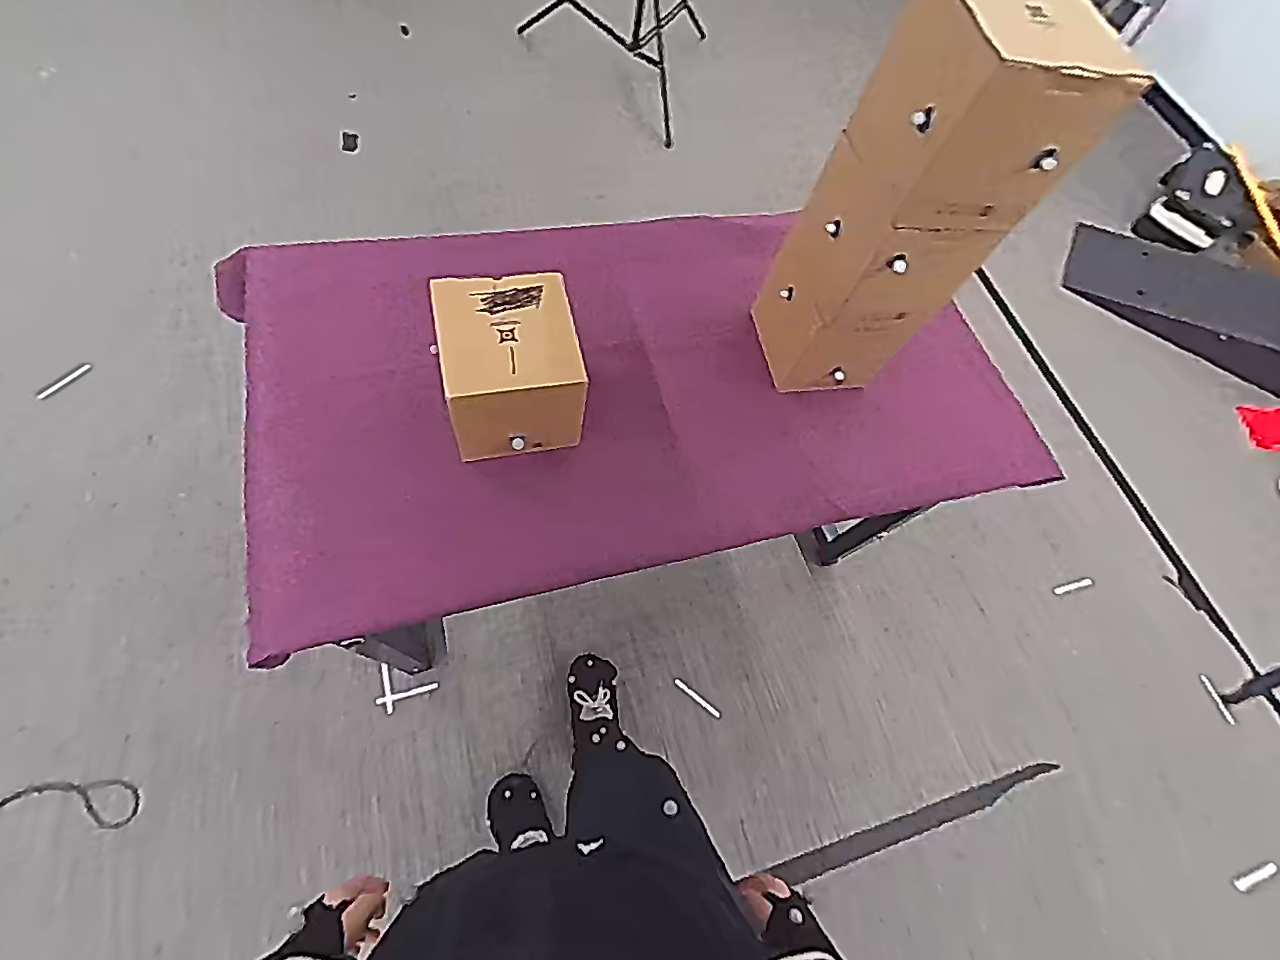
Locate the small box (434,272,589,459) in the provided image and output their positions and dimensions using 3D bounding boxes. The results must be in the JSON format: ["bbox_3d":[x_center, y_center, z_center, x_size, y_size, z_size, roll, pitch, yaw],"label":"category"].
[{"bbox_3d":[-0.171,-0.149,0.725,0.168,0.176,0.179,-10,69,-14],"label":"small box"}]

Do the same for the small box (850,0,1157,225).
[{"bbox_3d":[0.353,-0.394,0.565,0.168,0.176,0.179,-4,65,-13],"label":"small box"}]

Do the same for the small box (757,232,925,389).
[{"bbox_3d":[0.304,-0.266,0.862,0.168,0.176,0.179,-6,67,-12],"label":"small box"}]
